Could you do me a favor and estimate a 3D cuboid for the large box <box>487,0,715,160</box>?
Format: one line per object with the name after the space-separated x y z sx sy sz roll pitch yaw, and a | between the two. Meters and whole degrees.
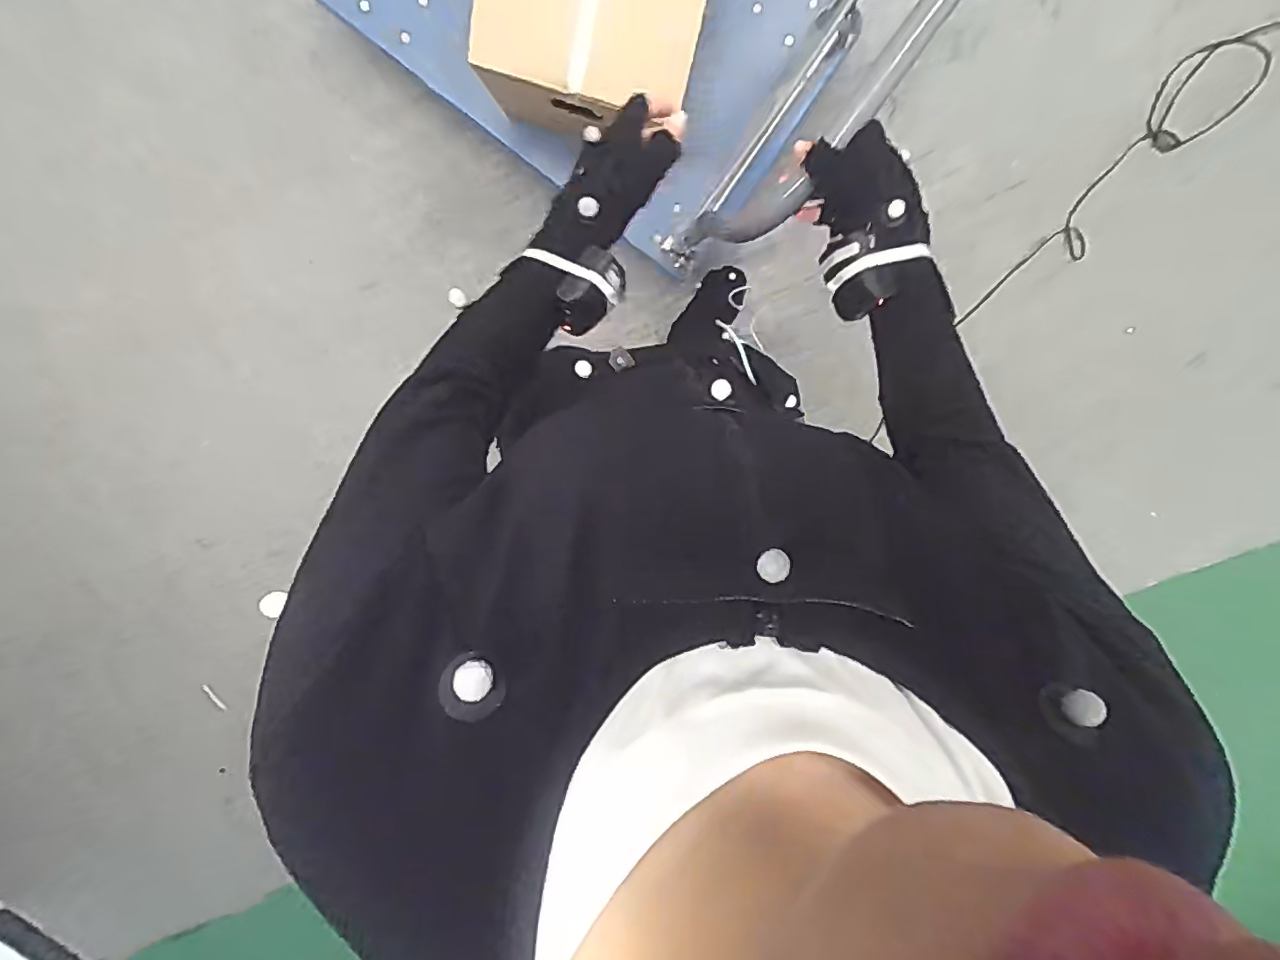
-0.042 -0.799 0.871 0.320 0.320 0.408 11 112 -6 | large box
